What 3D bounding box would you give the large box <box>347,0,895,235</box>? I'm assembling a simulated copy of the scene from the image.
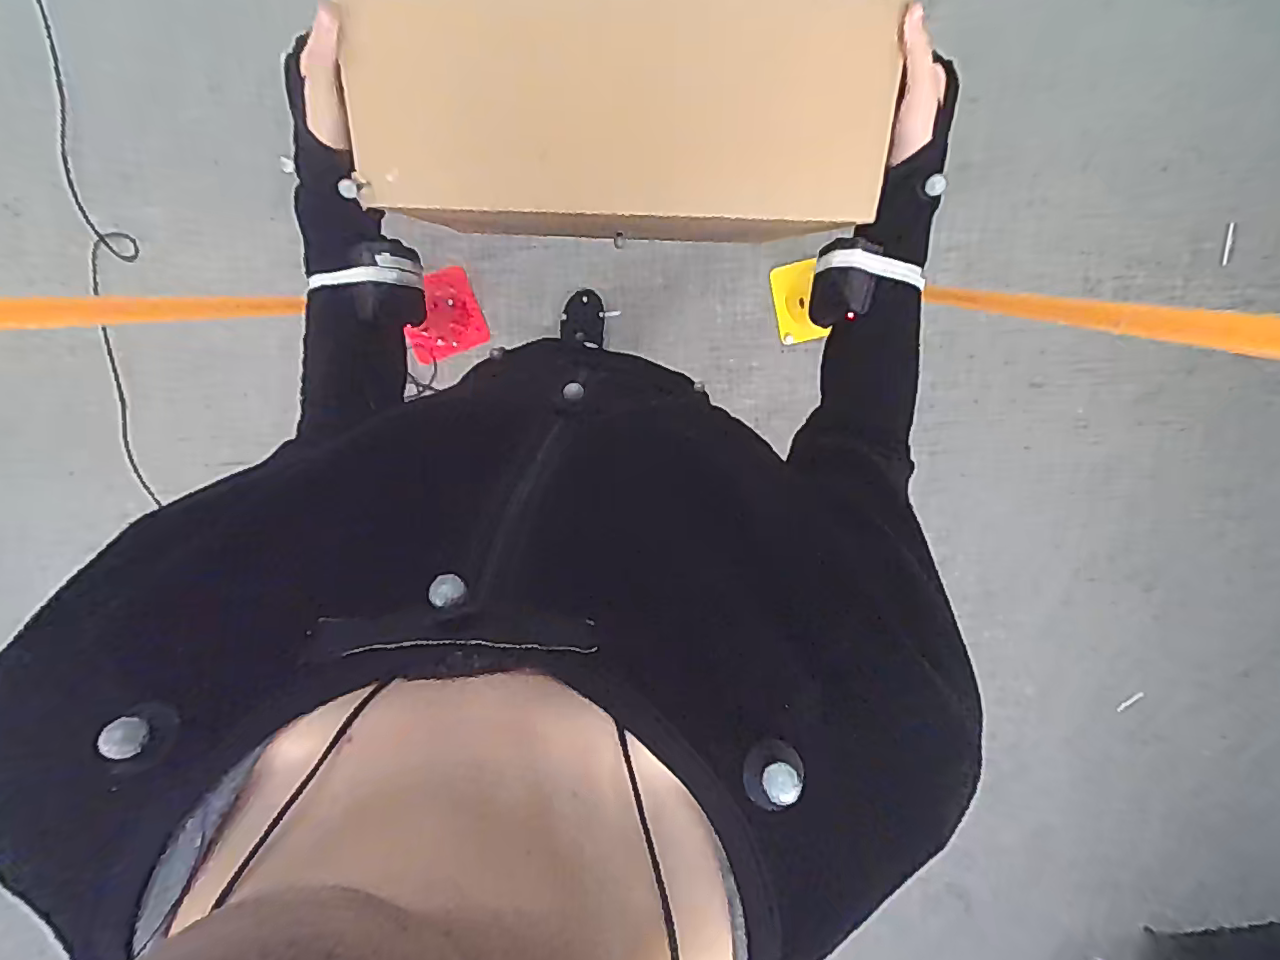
[{"bbox_3d":[-0.015,-0.412,0.522,0.408,0.320,0.320,0,111,-4],"label":"large box"}]
